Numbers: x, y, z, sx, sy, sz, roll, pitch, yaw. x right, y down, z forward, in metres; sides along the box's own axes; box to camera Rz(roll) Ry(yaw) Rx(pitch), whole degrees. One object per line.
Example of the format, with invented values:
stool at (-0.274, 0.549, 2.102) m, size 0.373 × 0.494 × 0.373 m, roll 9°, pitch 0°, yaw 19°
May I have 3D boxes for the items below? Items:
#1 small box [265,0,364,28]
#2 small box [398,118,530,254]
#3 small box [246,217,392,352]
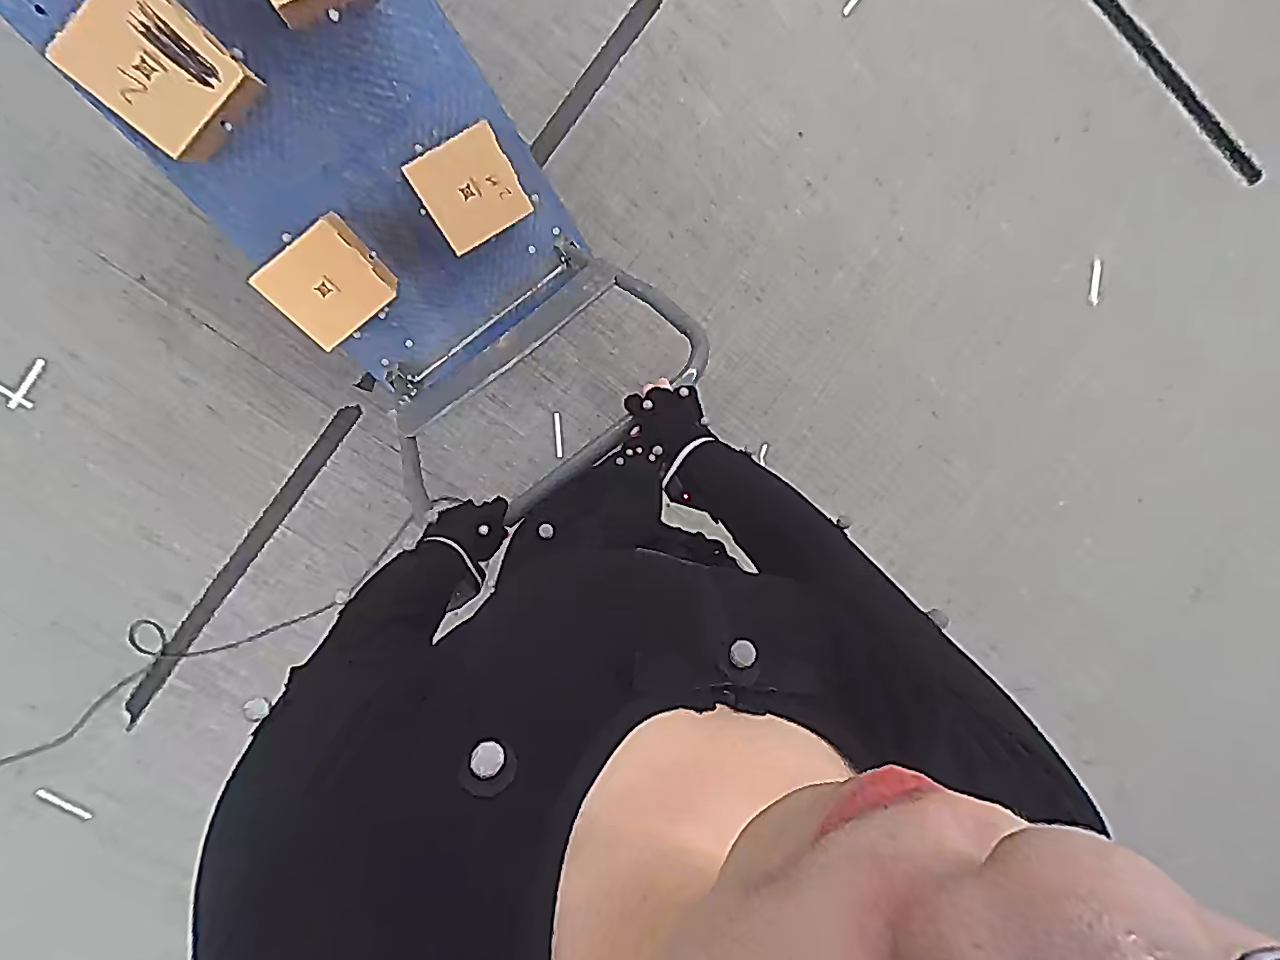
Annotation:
small box at (-0.532, -0.833, 0.817) m, size 0.168 × 0.176 × 0.179 m, roll -29°, pitch 126°, yaw -7°
small box at (-0.341, -0.566, 1.049) m, size 0.179 × 0.176 × 0.168 m, roll -33°, pitch 126°, yaw -3°
small box at (-0.600, -0.380, 1.040) m, size 0.179 × 0.176 × 0.168 m, roll -41°, pitch 125°, yaw 0°
